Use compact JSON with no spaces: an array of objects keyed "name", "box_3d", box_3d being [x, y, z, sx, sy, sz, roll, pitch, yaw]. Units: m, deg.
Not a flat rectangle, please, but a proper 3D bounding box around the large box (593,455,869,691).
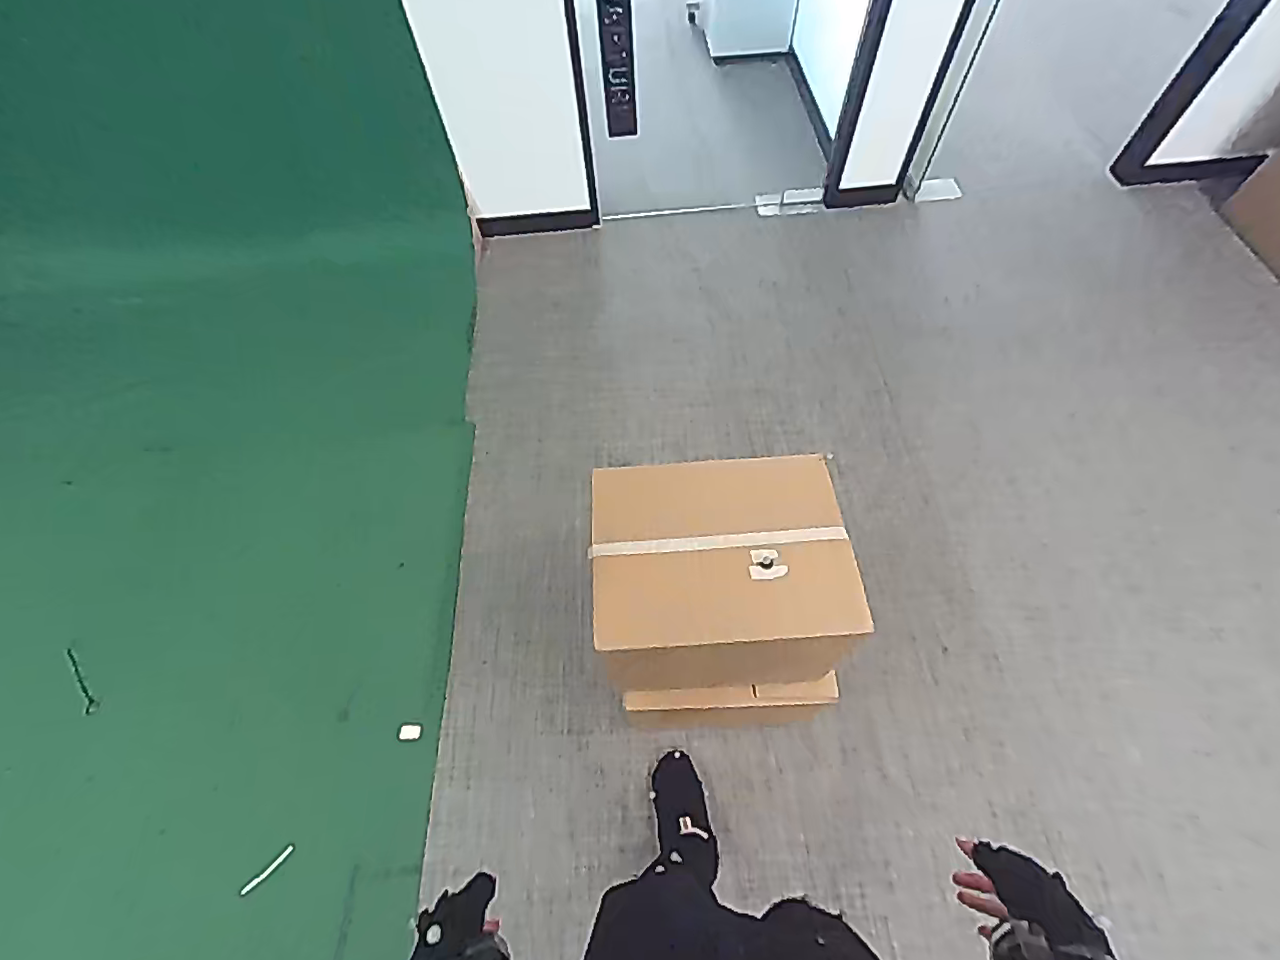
[{"name":"large box","box_3d":[0.128,0.178,0.978,0.408,0.320,0.320,-3,57,0]}]
